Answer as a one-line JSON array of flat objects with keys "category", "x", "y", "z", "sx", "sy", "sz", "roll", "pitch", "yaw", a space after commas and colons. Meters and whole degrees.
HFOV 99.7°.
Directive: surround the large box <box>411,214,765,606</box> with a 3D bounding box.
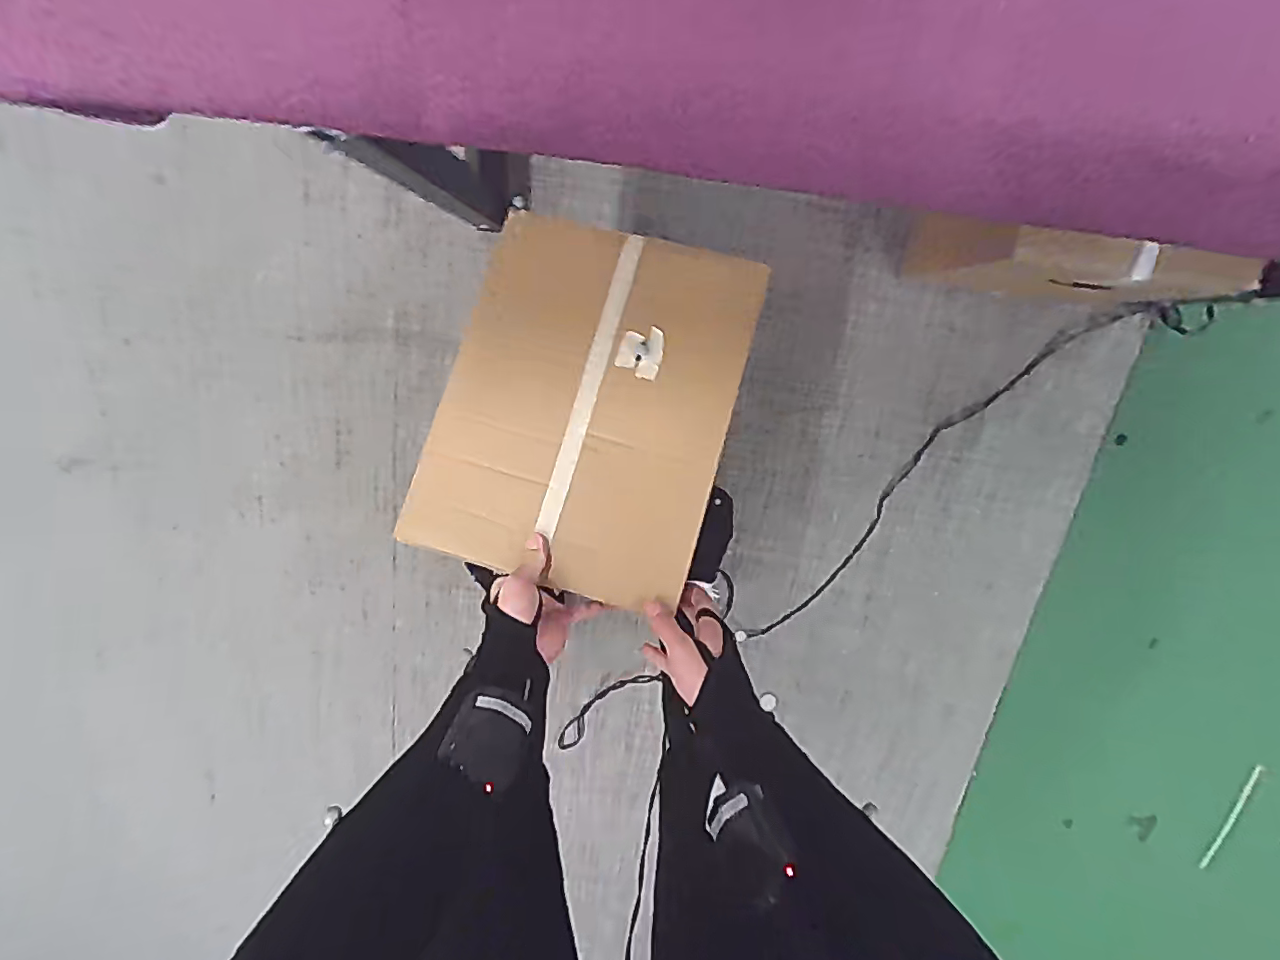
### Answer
[{"category": "large box", "x": -0.044, "y": -0.065, "z": 0.742, "sx": 0.320, "sy": 0.320, "sz": 0.408, "roll": 15, "pitch": 81, "yaw": 5}]
